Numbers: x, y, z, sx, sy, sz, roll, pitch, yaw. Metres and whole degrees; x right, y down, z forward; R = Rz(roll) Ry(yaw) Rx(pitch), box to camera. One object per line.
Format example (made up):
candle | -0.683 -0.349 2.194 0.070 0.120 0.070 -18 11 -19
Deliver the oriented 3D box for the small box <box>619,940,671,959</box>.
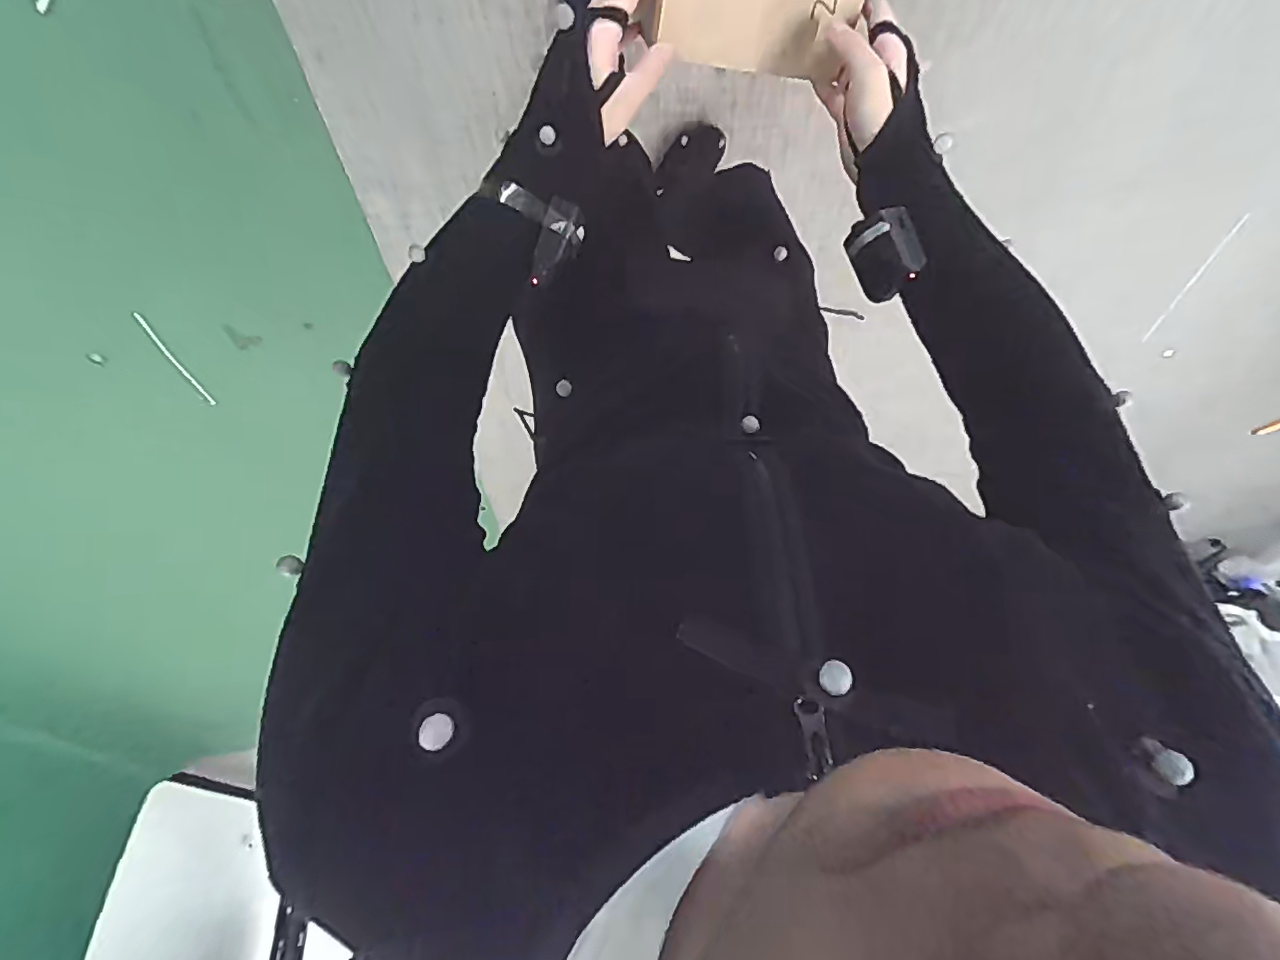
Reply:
small box | 0.025 1.603 1.730 0.168 0.176 0.179 -7 144 -6

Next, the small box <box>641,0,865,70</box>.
small box | 0.094 -0.478 0.447 0.179 0.176 0.168 -3 145 -14
